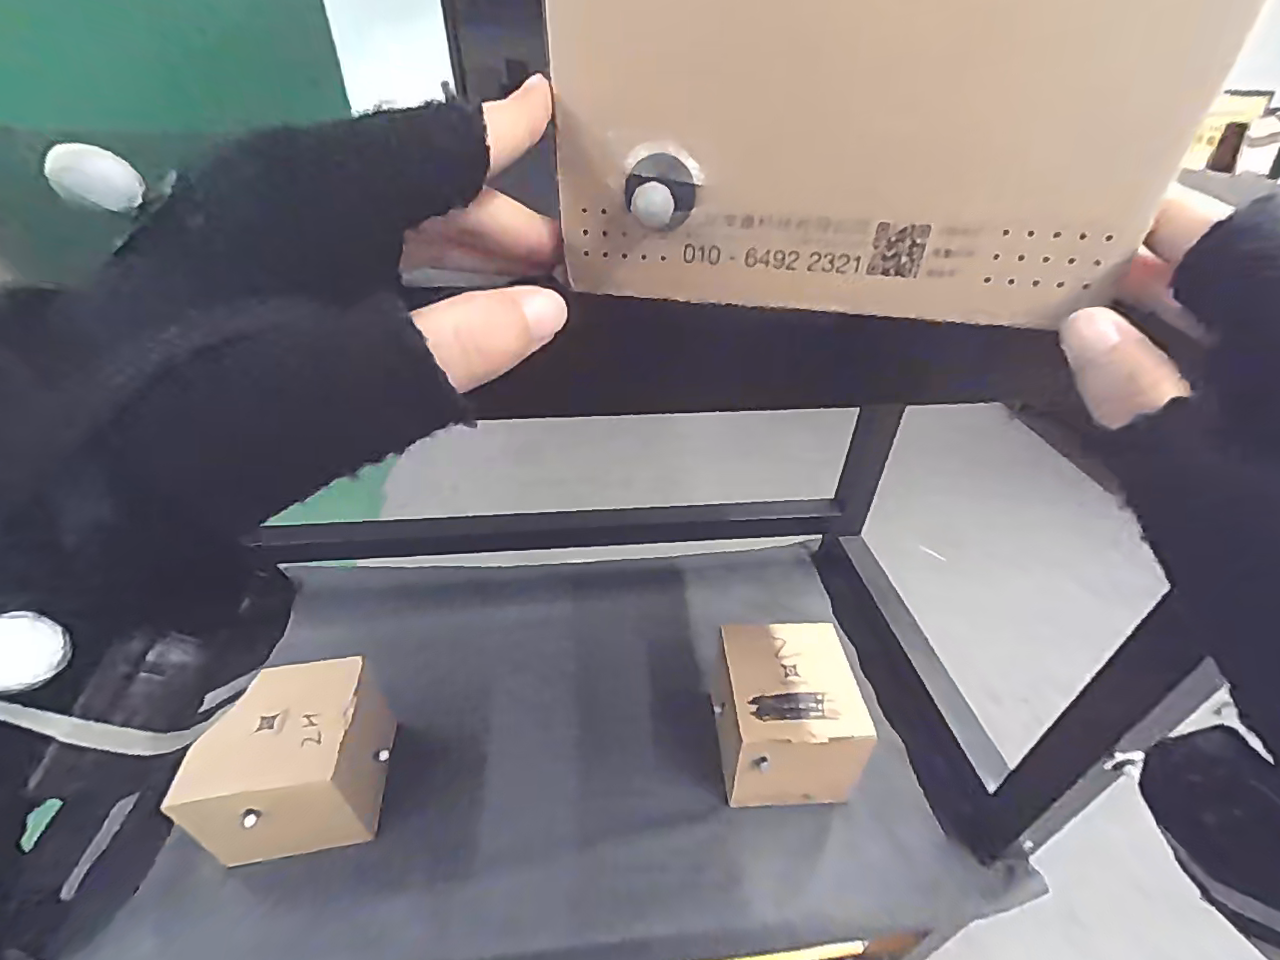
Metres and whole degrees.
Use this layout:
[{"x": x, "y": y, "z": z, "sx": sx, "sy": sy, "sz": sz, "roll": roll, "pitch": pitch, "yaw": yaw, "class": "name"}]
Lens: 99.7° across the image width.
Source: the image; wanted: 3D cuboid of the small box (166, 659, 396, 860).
[{"x": -0.442, "y": 0.363, "z": 0.705, "sx": 0.179, "sy": 0.176, "sz": 0.168, "roll": -5, "pitch": 37, "yaw": -8, "class": "small box"}]
